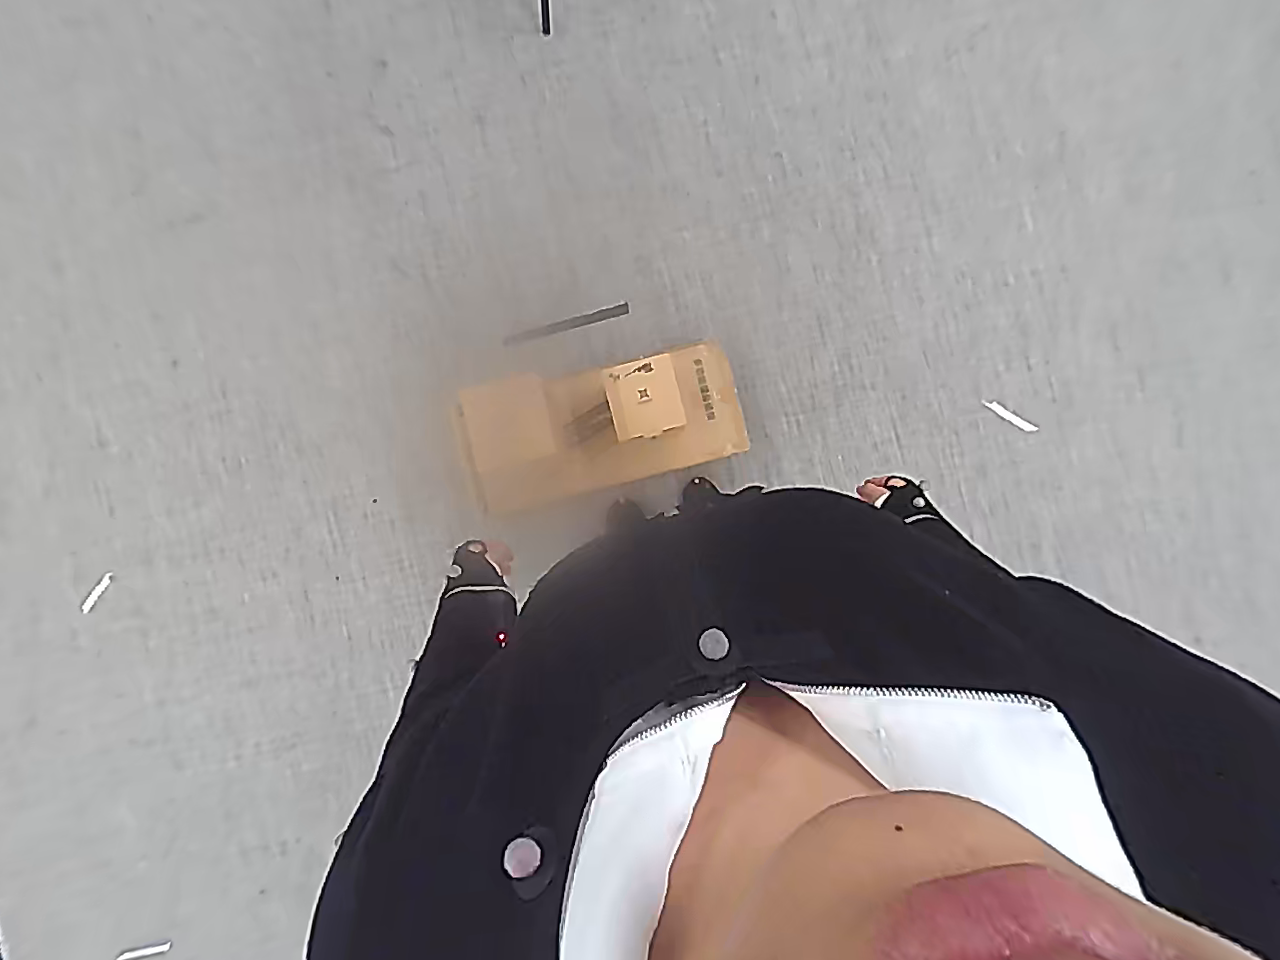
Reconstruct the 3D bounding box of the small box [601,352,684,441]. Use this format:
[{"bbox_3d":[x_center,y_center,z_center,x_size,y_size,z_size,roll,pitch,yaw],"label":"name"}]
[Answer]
[{"bbox_3d":[0.012,-0.196,1.328,0.168,0.176,0.179,-13,90,3],"label":"small box"}]
